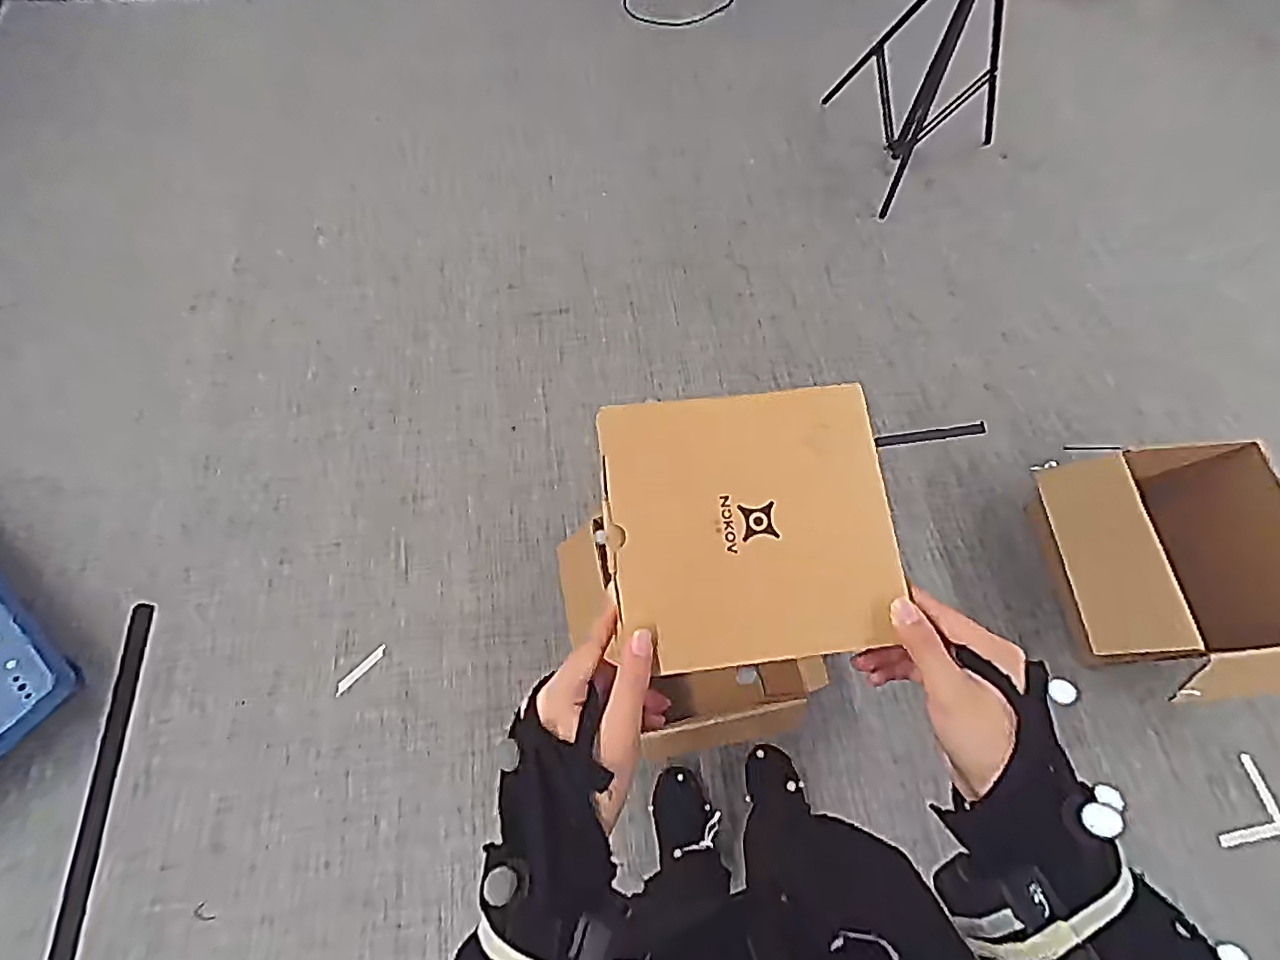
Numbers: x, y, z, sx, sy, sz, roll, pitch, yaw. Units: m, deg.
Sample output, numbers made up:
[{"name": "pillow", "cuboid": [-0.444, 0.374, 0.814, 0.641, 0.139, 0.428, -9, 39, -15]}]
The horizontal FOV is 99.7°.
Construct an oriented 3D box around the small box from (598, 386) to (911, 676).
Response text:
[{"name": "small box", "cuboid": [0.064, 0.043, 0.408, 0.179, 0.176, 0.168, -6, 77, -3]}]
